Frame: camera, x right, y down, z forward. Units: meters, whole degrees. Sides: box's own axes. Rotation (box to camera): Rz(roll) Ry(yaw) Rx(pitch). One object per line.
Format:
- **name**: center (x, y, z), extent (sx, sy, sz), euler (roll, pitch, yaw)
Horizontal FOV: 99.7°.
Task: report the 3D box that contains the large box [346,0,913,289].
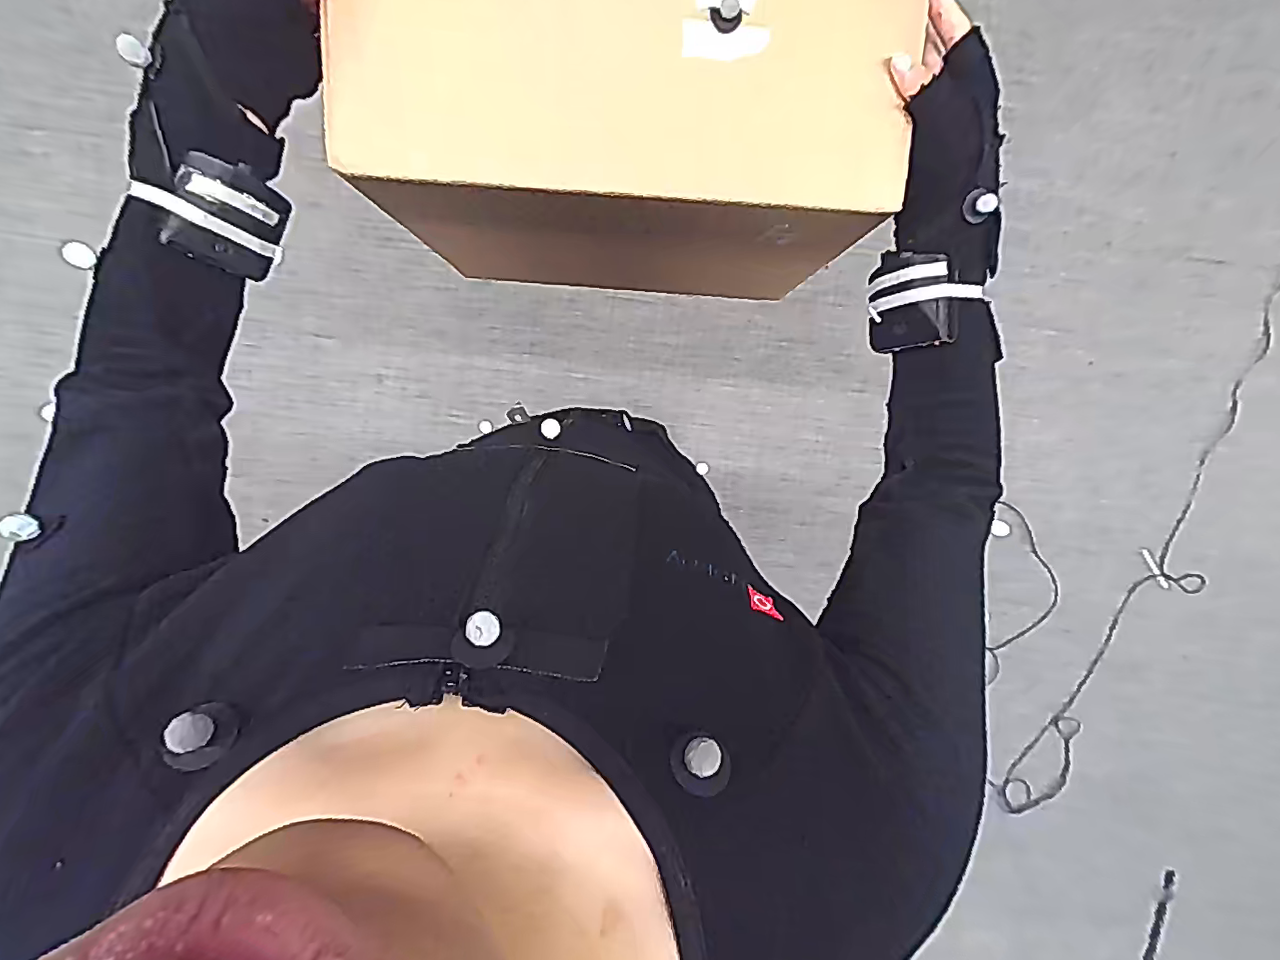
- **large box**: center (-0.008, -0.384, 0.522), extent (0.408, 0.320, 0.320), euler (3, 98, -2)
